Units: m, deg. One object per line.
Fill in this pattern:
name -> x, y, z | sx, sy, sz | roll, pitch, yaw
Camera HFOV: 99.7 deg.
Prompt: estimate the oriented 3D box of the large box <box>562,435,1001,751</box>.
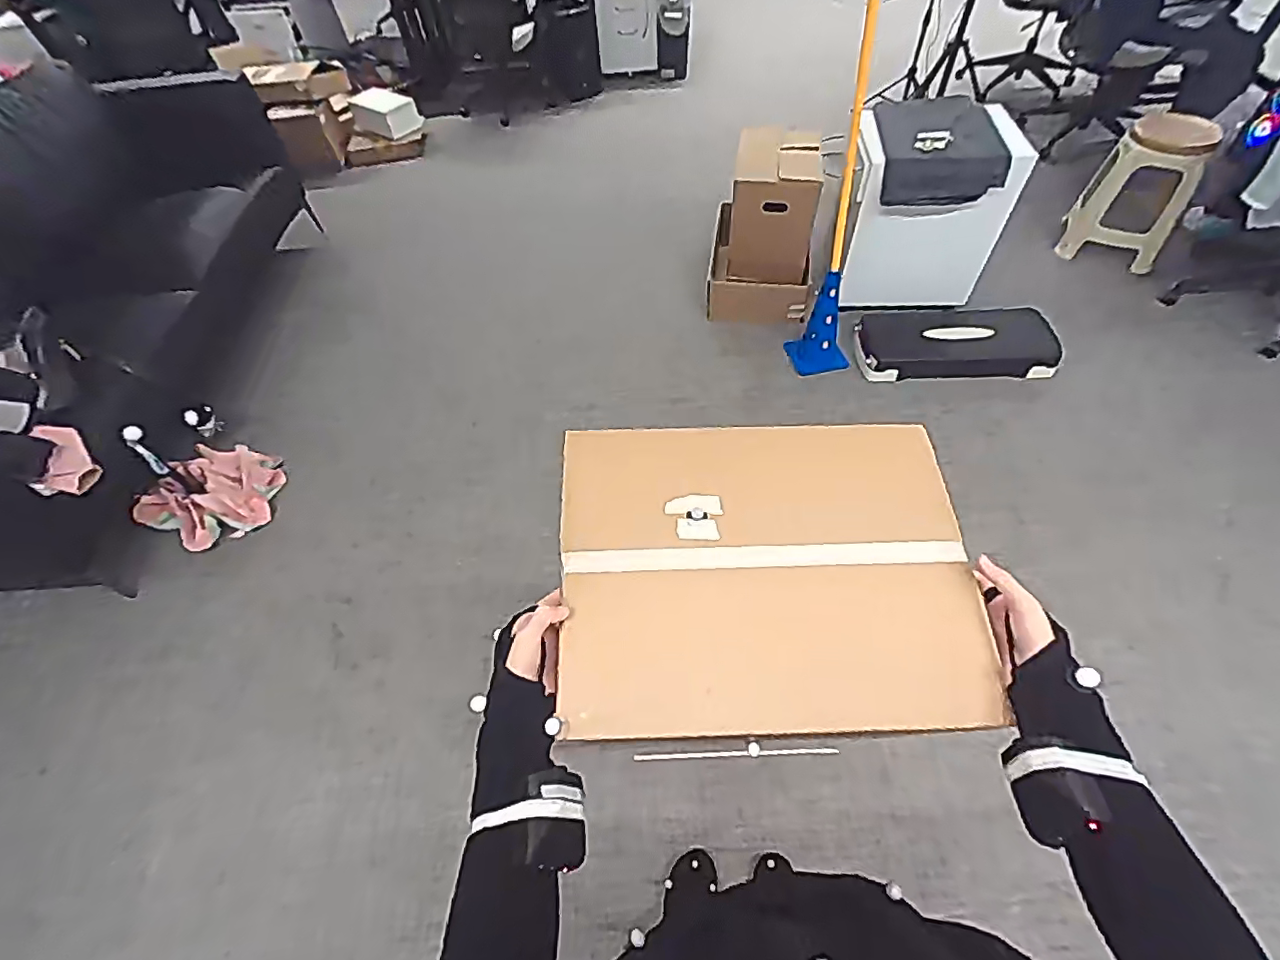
large box -> 0.125, 0.161, 0.682 | 0.408, 0.320, 0.320 | -2, 62, 0
